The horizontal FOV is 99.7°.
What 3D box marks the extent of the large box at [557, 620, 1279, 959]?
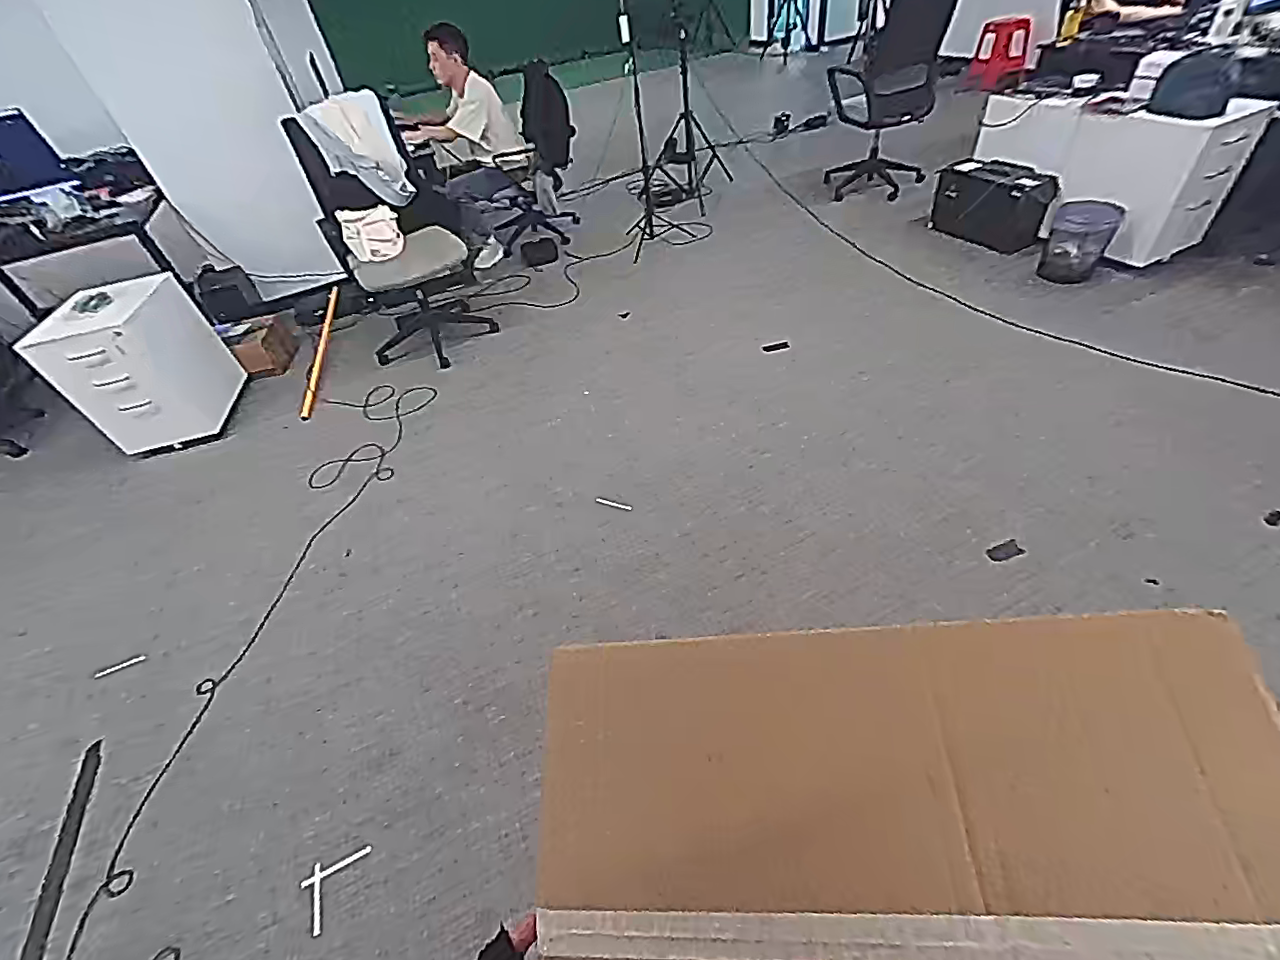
[{"bbox_3d":[0.173,0.309,0.419,0.408,0.320,0.320,-7,64,10],"label":"large box"}]
